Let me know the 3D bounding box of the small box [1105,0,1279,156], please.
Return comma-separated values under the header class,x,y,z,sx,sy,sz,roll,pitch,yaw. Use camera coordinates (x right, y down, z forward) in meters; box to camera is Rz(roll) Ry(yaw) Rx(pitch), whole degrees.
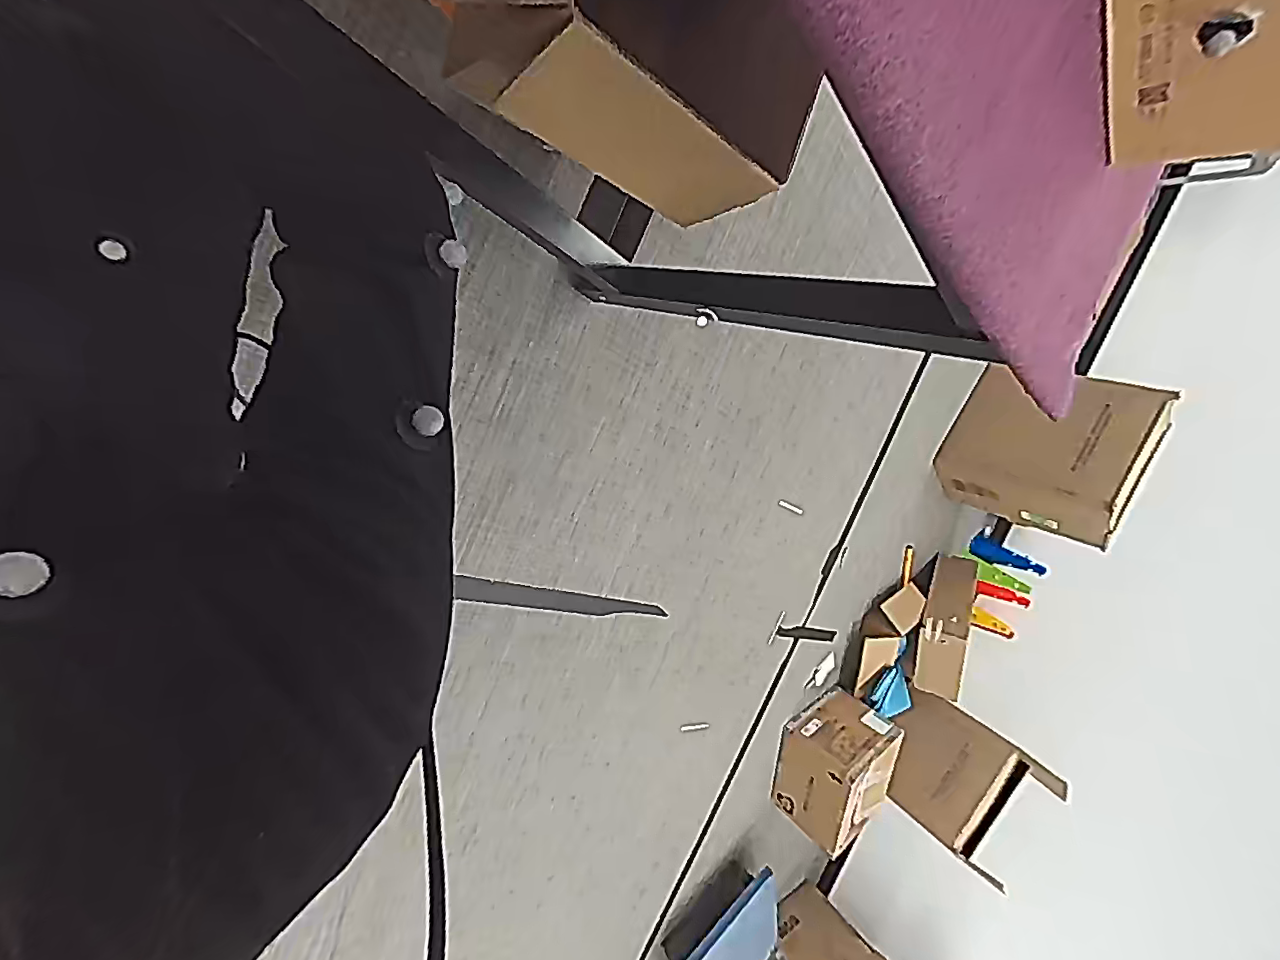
class,x,y,z,sx,sy,sz,roll,pitch,yaw
small box,0.387,-0.311,0.288,0.168,0.176,0.179,26,91,-45
